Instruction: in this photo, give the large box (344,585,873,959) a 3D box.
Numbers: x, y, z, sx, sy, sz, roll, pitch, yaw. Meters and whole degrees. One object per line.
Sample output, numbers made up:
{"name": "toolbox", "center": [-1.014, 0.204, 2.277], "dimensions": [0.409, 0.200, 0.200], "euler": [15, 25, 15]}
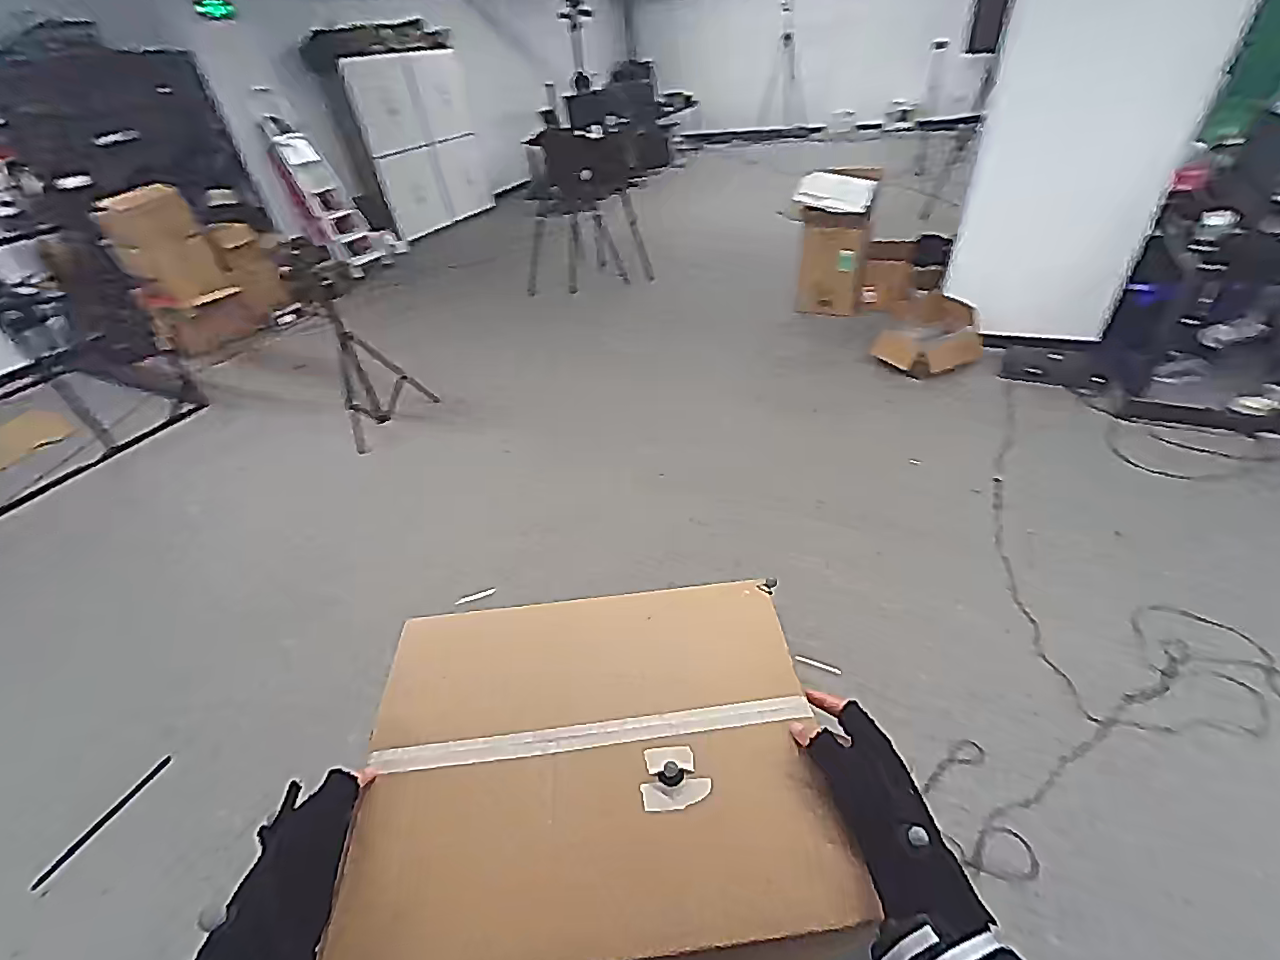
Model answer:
{"name": "large box", "center": [-0.028, 0.353, 0.604], "dimensions": [0.408, 0.320, 0.320], "euler": [-5, 40, -2]}
